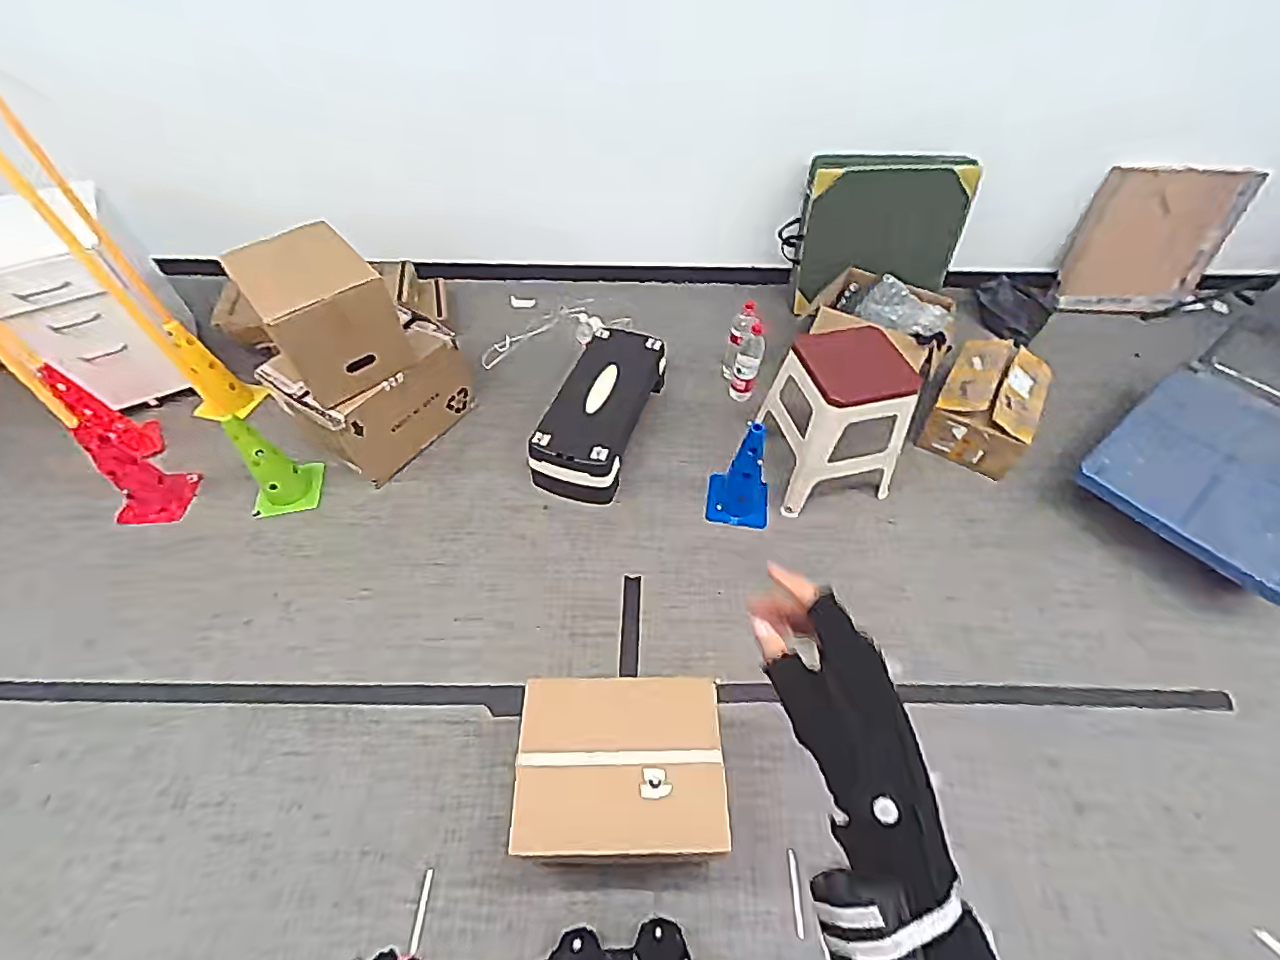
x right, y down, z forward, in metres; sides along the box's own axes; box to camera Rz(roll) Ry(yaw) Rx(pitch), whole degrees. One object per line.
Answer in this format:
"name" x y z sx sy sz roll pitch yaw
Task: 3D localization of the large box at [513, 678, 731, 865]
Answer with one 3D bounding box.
"large box" -0.041 0.638 1.180 0.408 0.320 0.320 1 53 -2
